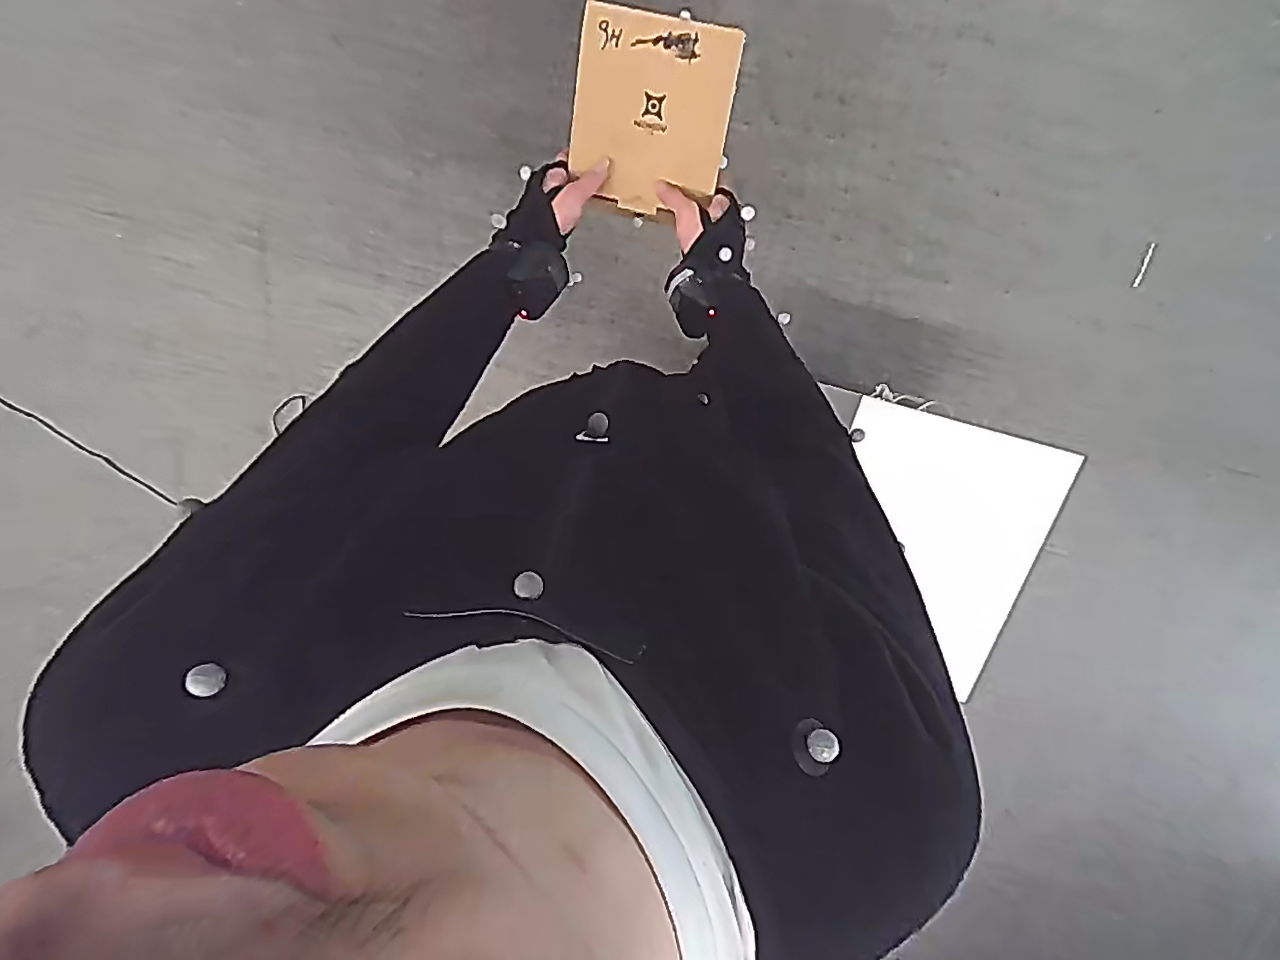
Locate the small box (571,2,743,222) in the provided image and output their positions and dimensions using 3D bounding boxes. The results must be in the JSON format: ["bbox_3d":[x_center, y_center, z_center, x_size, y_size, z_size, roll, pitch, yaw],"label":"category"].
[{"bbox_3d":[0.017,-0.420,0.651,0.168,0.176,0.179,8,111,-1],"label":"small box"}]
